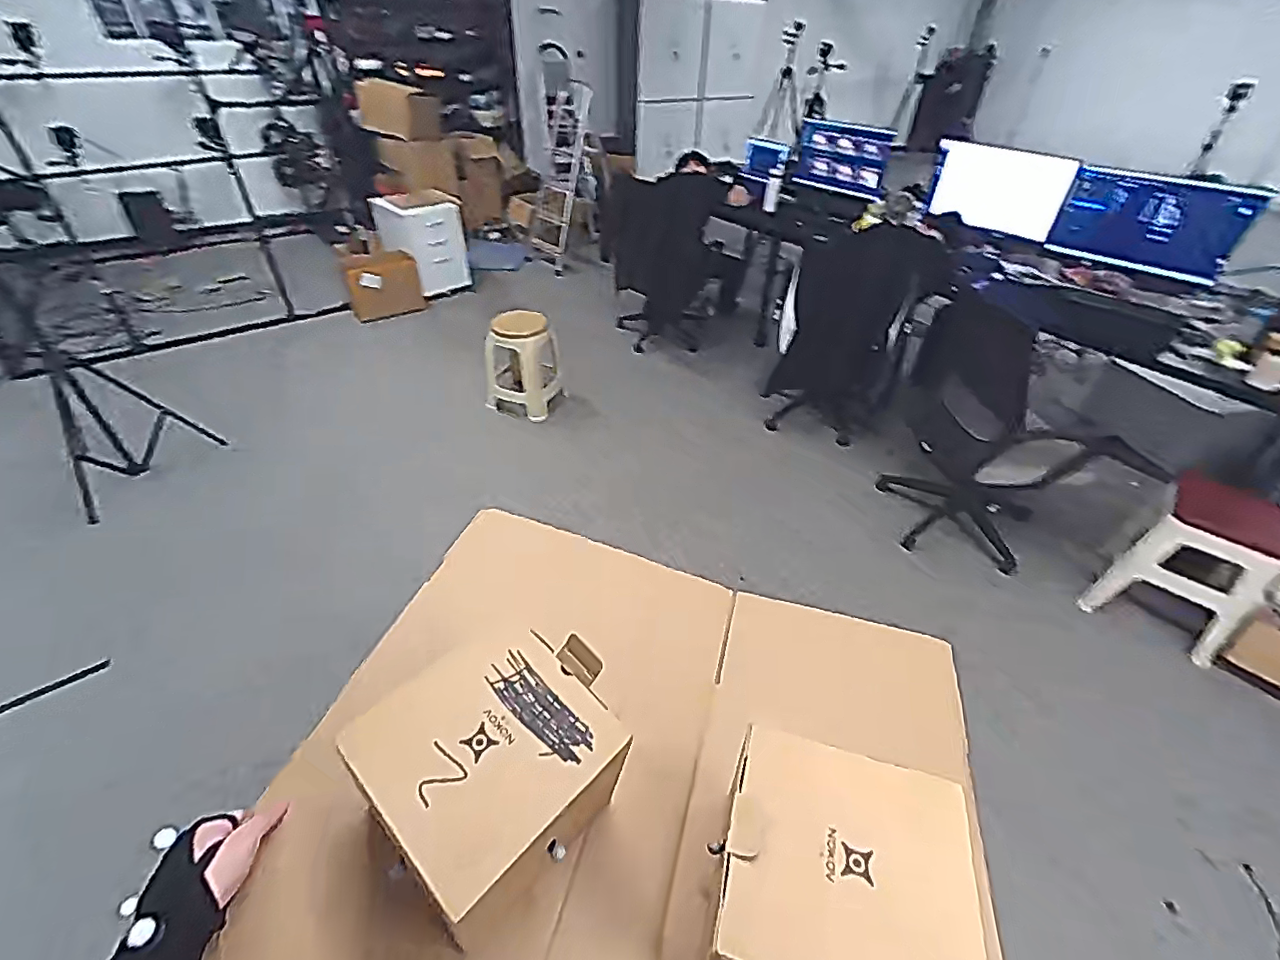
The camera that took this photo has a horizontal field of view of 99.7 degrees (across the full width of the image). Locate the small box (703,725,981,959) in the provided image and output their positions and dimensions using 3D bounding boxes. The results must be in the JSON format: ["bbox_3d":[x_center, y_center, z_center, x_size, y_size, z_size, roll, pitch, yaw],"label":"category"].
[{"bbox_3d":[0.159,0.348,0.465,0.179,0.176,0.168,10,41,13],"label":"small box"}]
